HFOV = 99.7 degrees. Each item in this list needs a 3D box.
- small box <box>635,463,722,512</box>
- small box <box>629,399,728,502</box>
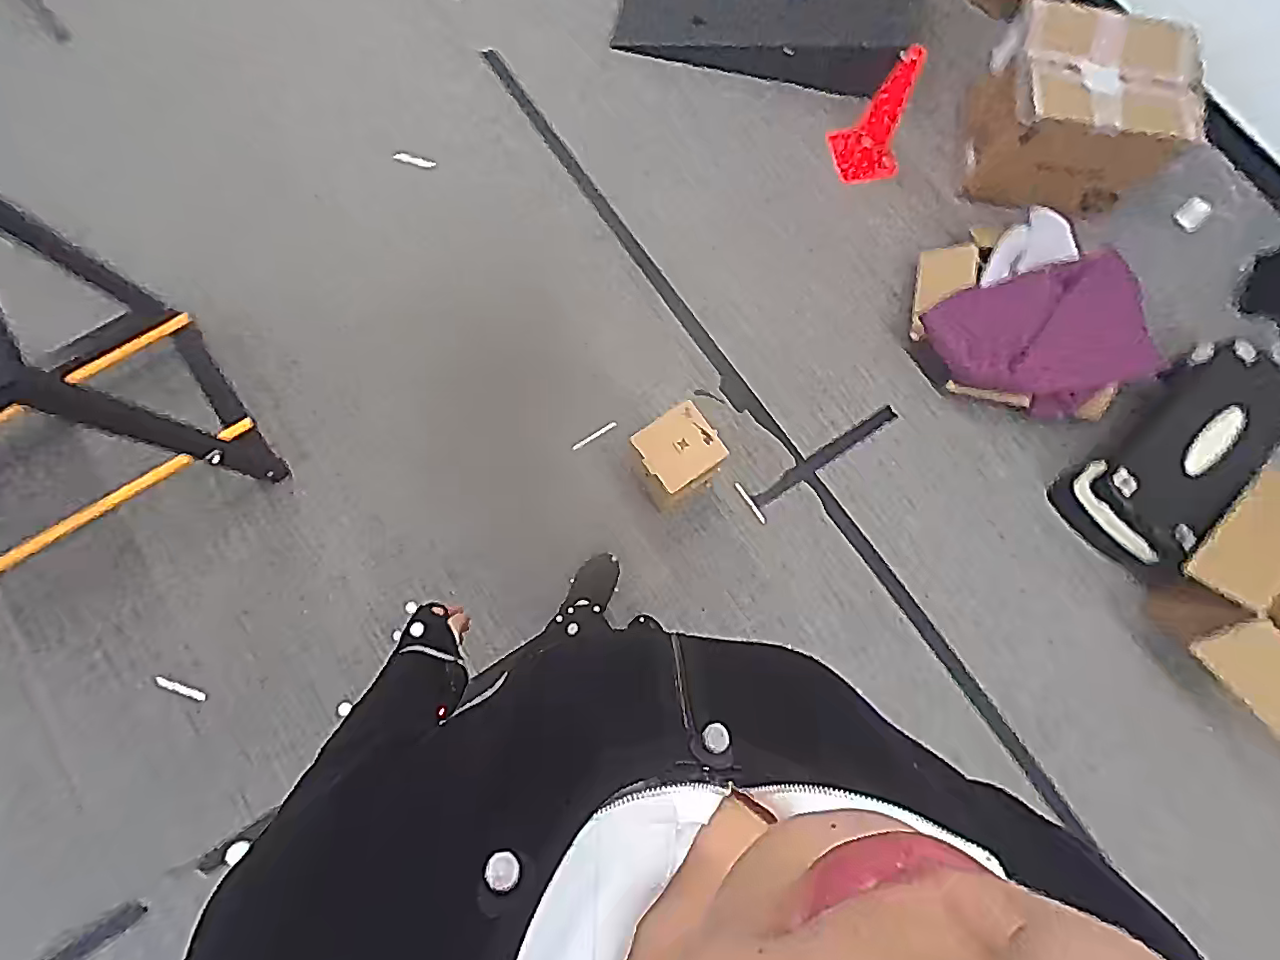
[{"bbox_3d":[0.097,-0.032,1.489,0.179,0.176,0.168,-32,81,-8],"label":"small box"},{"bbox_3d":[0.090,-0.063,1.328,0.179,0.176,0.168,-34,82,-7],"label":"small box"}]
